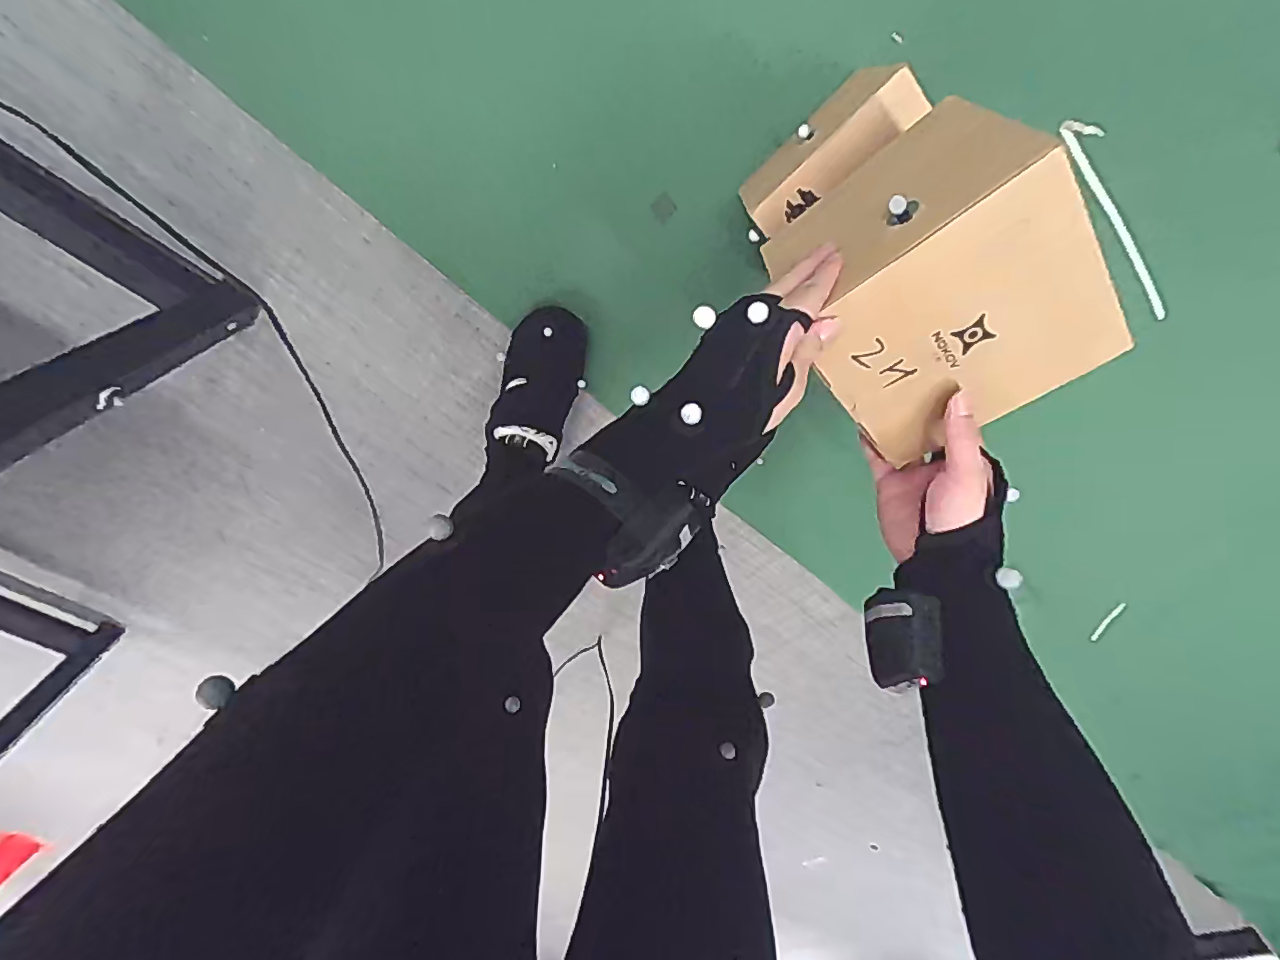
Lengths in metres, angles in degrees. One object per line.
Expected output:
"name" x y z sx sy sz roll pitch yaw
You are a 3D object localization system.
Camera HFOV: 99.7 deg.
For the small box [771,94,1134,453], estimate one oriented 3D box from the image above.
"small box" 0.225 -0.161 0.429 0.179 0.176 0.168 -32 124 29
